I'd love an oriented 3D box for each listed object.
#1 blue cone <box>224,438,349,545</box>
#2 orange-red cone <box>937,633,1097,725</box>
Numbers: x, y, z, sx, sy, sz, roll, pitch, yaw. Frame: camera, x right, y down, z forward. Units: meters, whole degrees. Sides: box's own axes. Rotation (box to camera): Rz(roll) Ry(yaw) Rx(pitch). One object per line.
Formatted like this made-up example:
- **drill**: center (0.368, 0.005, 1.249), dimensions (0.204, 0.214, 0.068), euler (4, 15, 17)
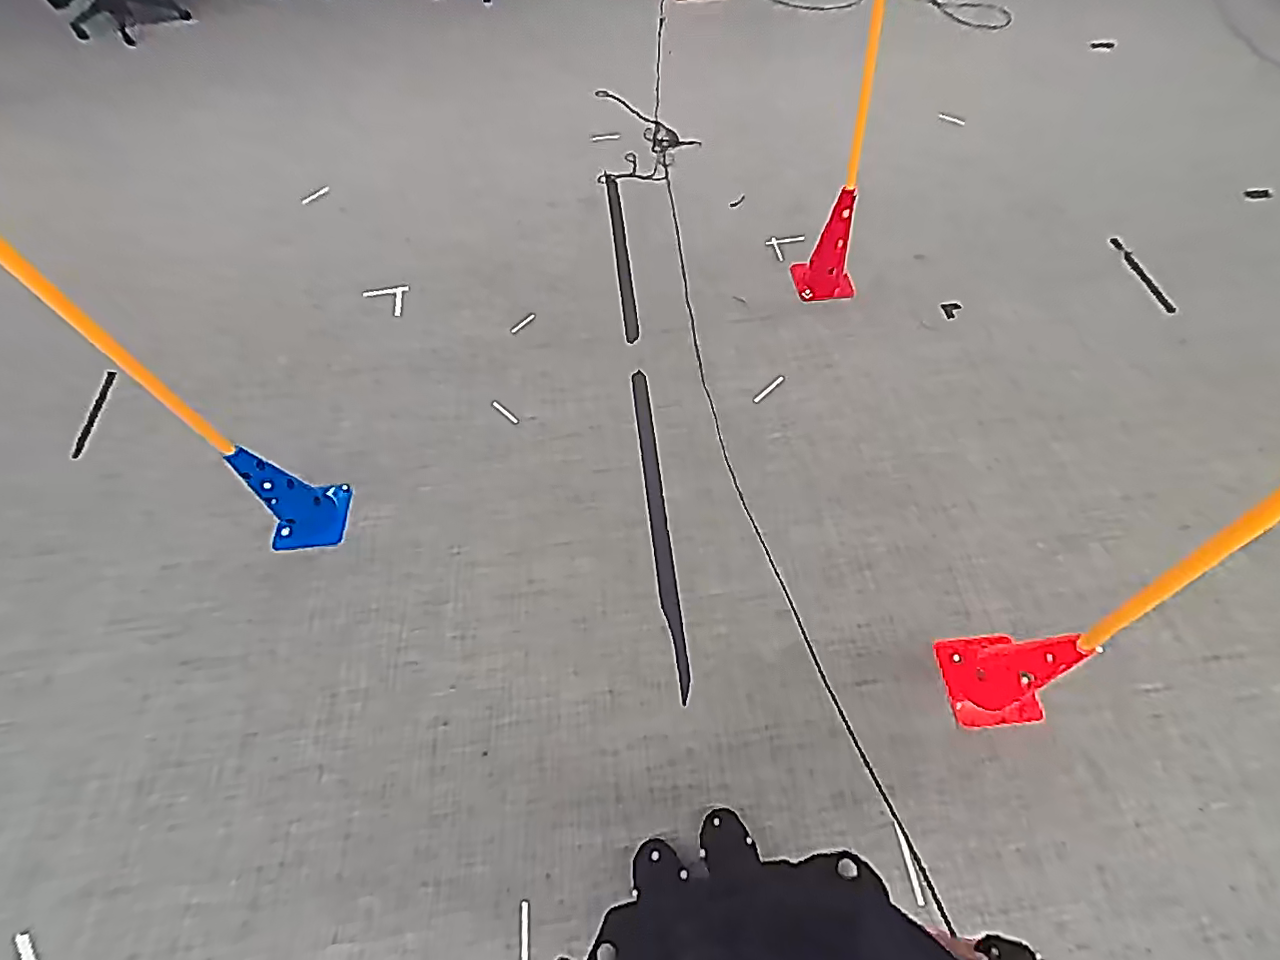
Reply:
- **blue cone**: center (-0.969, 0.017, 1.448), dimensions (0.193, 0.380, 0.192), euler (-4, 59, 0)
- **orange-red cone**: center (0.812, 0.381, 1.123), dimensions (0.198, 0.360, 0.199), euler (-4, 61, 1)
